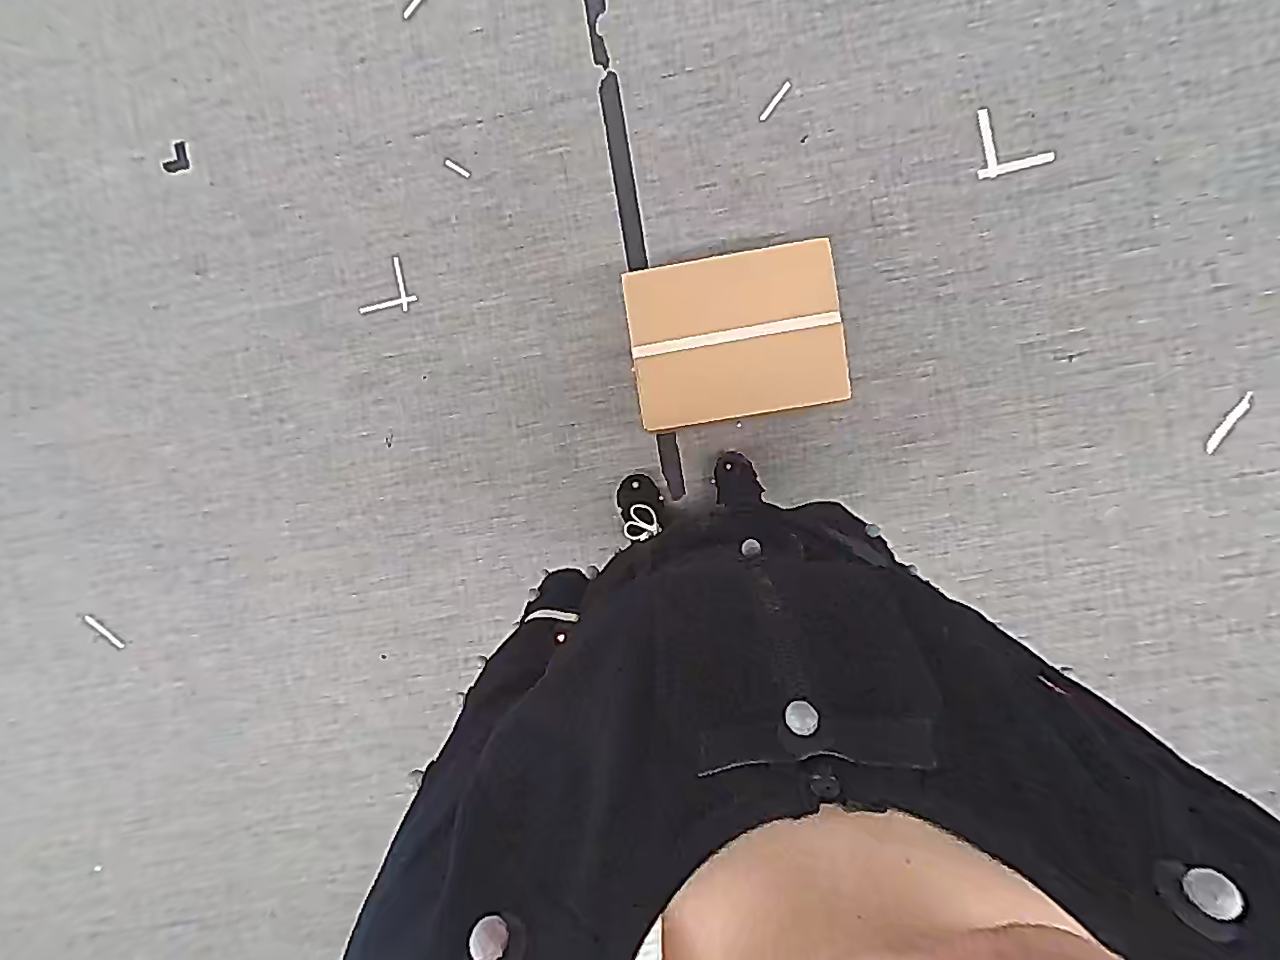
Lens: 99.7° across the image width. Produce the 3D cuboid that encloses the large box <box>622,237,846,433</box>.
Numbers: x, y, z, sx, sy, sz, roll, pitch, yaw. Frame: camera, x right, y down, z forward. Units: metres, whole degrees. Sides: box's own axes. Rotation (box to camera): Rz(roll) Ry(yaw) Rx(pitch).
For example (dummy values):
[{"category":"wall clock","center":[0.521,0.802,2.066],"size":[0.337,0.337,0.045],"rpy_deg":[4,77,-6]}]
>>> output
[{"category":"large box","center":[0.190,-0.292,1.204],"size":[0.408,0.320,0.320],"rpy_deg":[-9,94,4]}]
